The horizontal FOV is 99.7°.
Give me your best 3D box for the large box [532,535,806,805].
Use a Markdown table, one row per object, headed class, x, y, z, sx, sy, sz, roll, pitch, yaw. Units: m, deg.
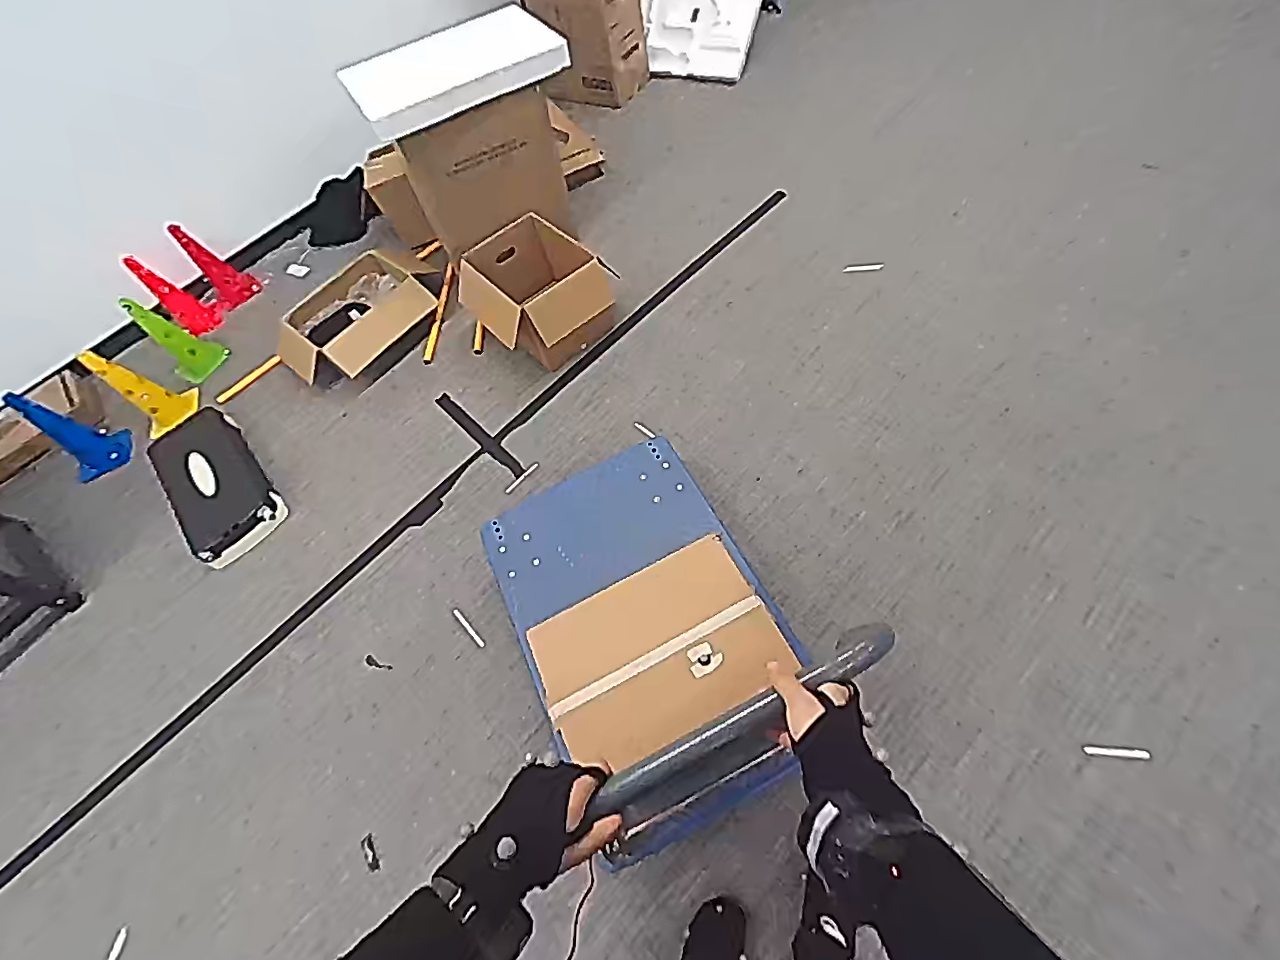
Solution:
| class | x | y | z | sx | sy | sz | roll | pitch | yaw |
| --- | --- | --- | --- | --- | --- | --- | --- | --- | --- |
| large box | 0.060 | 0.384 | 1.073 | 0.408 | 0.320 | 0.320 | -27 | 59 | -6 |
